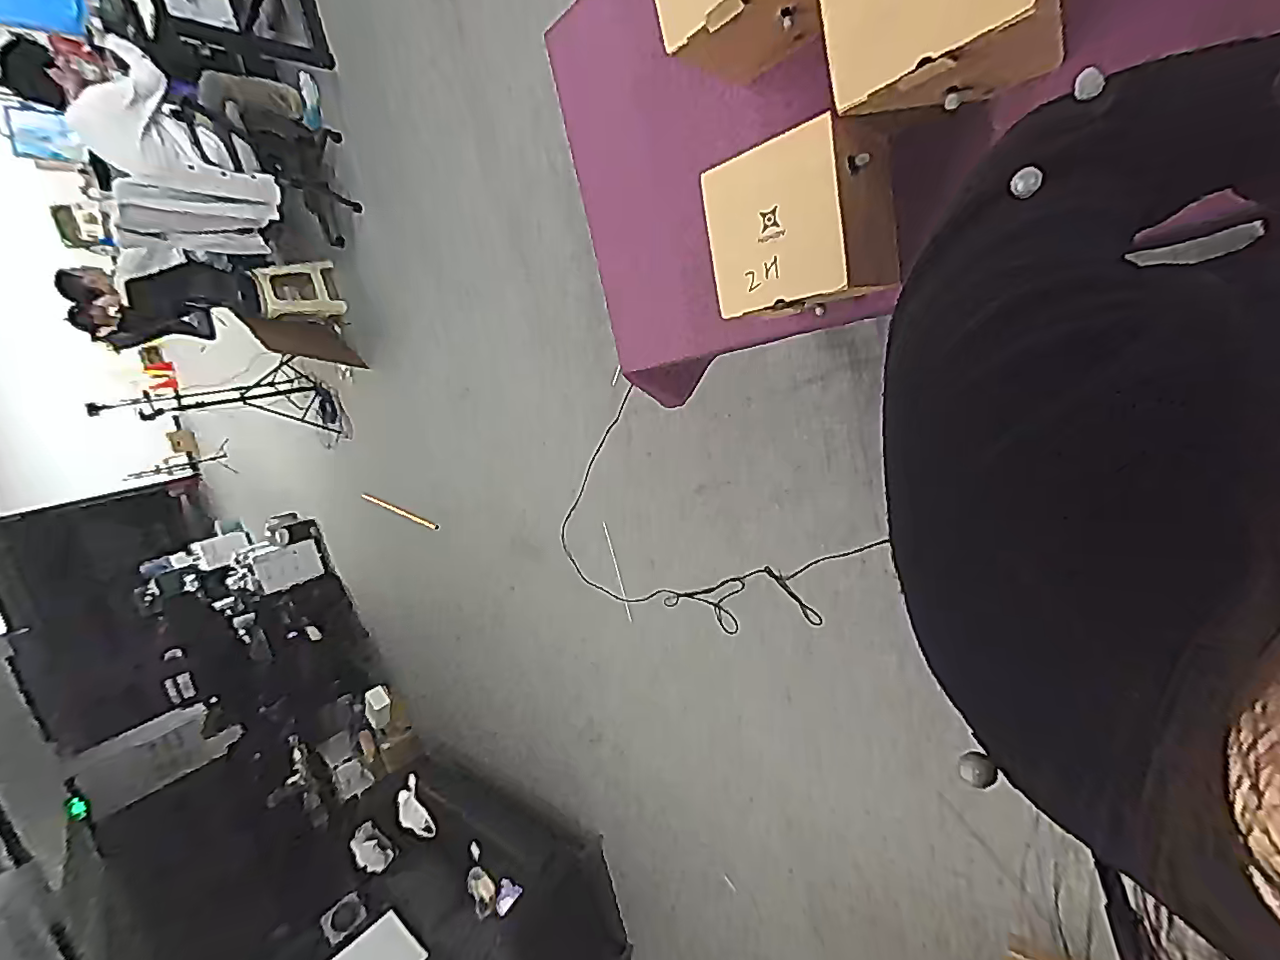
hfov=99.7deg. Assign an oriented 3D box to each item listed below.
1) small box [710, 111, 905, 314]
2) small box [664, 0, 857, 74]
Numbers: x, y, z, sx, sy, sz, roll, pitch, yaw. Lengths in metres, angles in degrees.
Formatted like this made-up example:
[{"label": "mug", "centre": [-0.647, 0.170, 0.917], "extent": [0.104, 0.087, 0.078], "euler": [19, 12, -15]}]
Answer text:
[{"label": "small box", "centre": [0.212, -0.313, 0.671], "extent": [0.168, 0.176, 0.179], "euler": [1, 107, 45]}, {"label": "small box", "centre": [0.134, -0.612, 0.628], "extent": [0.168, 0.176, 0.179], "euler": [-4, 104, 44]}]
